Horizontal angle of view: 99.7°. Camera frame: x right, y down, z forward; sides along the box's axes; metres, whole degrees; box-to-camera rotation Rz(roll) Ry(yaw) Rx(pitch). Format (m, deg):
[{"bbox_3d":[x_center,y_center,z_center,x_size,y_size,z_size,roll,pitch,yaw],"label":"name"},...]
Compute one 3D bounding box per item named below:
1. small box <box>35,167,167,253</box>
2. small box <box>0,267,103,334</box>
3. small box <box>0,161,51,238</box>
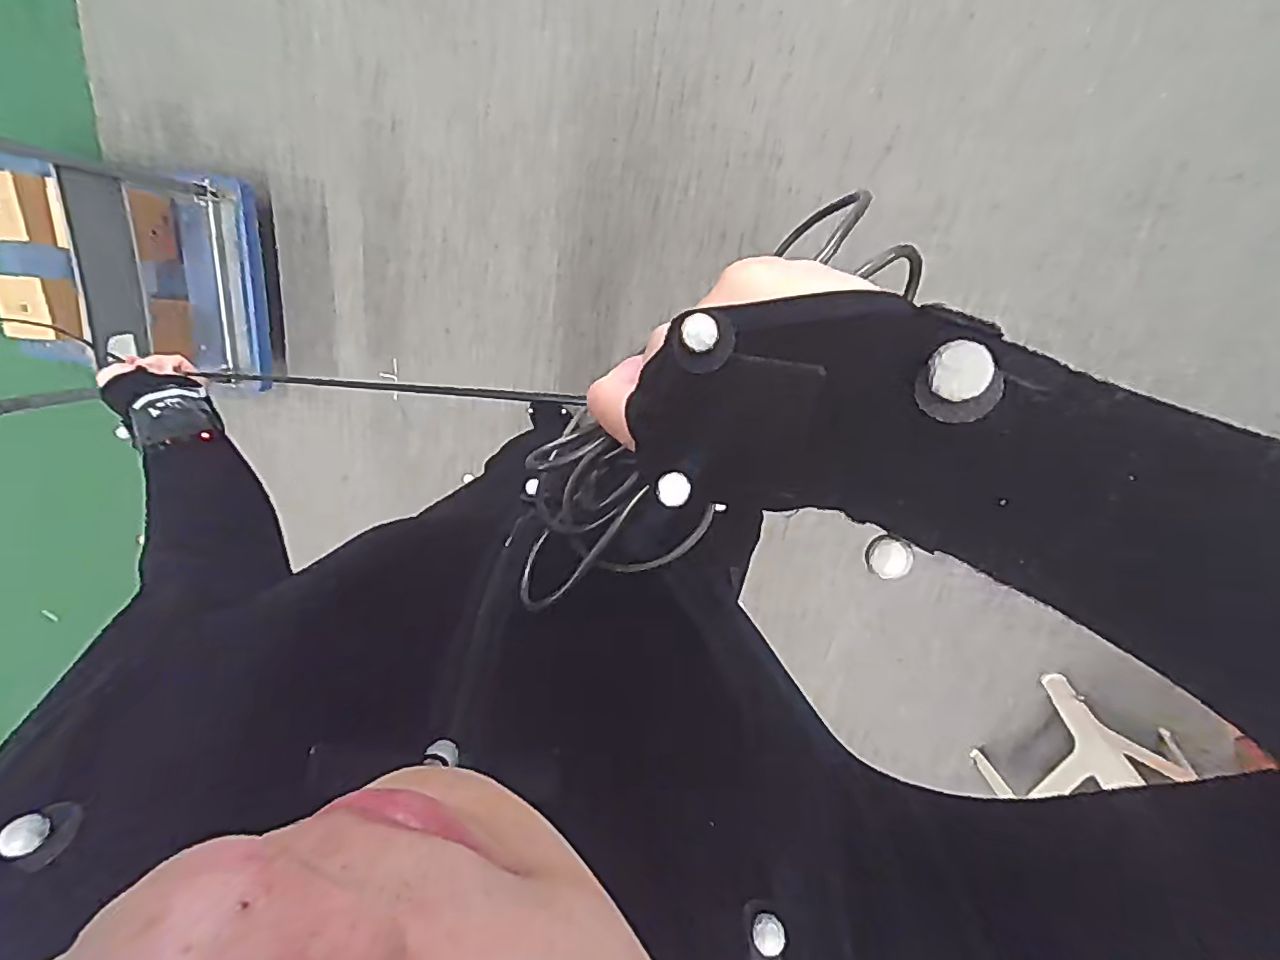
[{"bbox_3d":[-1.397,-0.698,1.412,0.179,0.176,0.168,11,109,6],"label":"small box"},{"bbox_3d":[-1.675,-0.507,1.524,0.179,0.176,0.168,7,108,9],"label":"small box"},{"bbox_3d":[-1.661,-0.746,1.446,0.179,0.176,0.168,6,109,8],"label":"small box"}]
